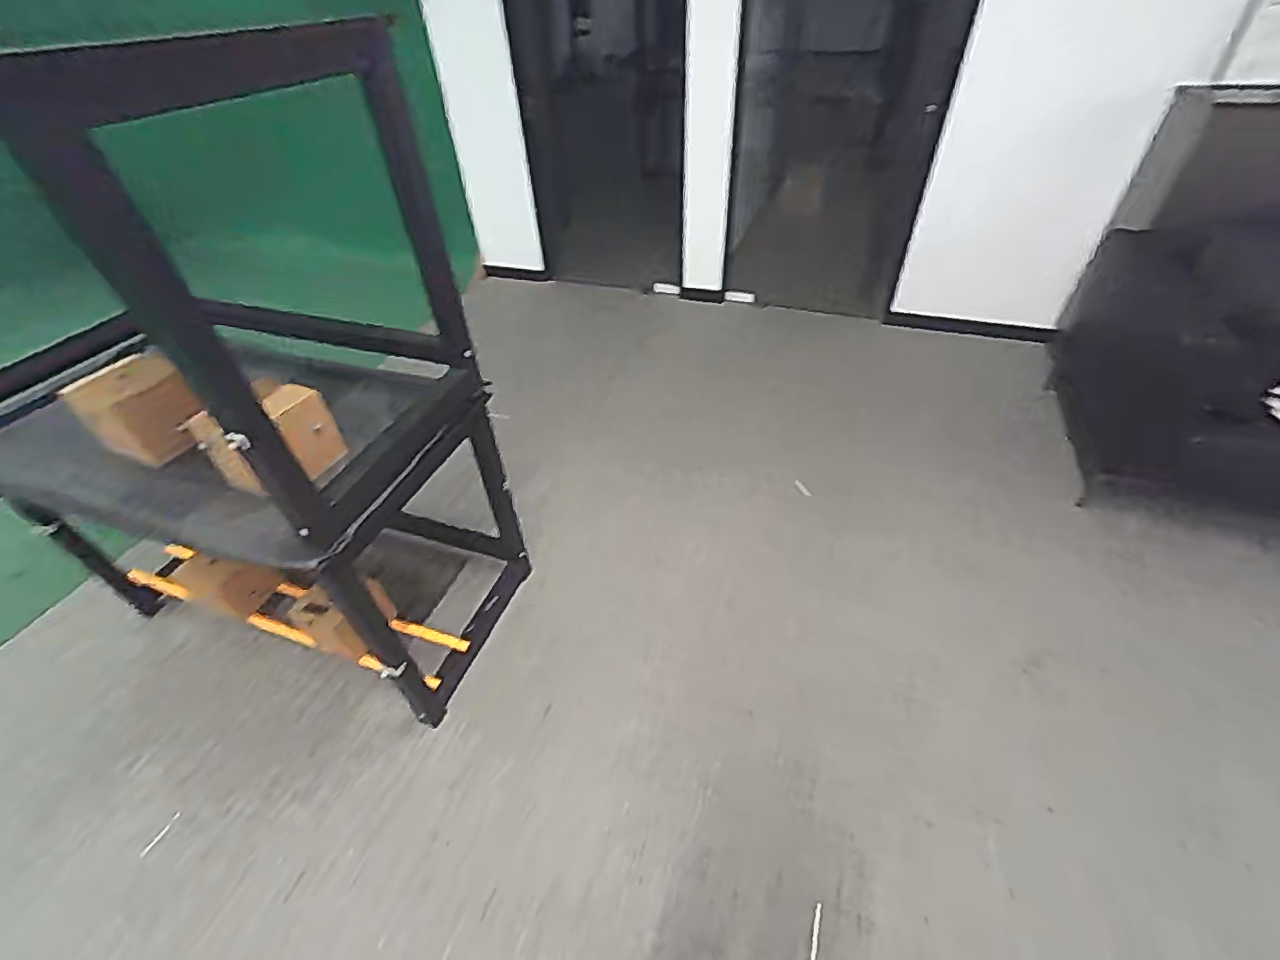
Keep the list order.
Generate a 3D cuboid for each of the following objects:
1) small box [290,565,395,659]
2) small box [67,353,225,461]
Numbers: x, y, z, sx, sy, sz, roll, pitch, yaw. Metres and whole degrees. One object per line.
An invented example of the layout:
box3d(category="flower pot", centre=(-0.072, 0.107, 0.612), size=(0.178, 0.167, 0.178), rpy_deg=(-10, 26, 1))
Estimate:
box3d(category="small box", centre=(-0.841, 0.380, 1.550), size=(0.168, 0.176, 0.179), rpy_deg=(15, 46, 18))
box3d(category="small box", centre=(-1.116, -0.166, 1.236), size=(0.179, 0.176, 0.168), rpy_deg=(15, 46, 18))
